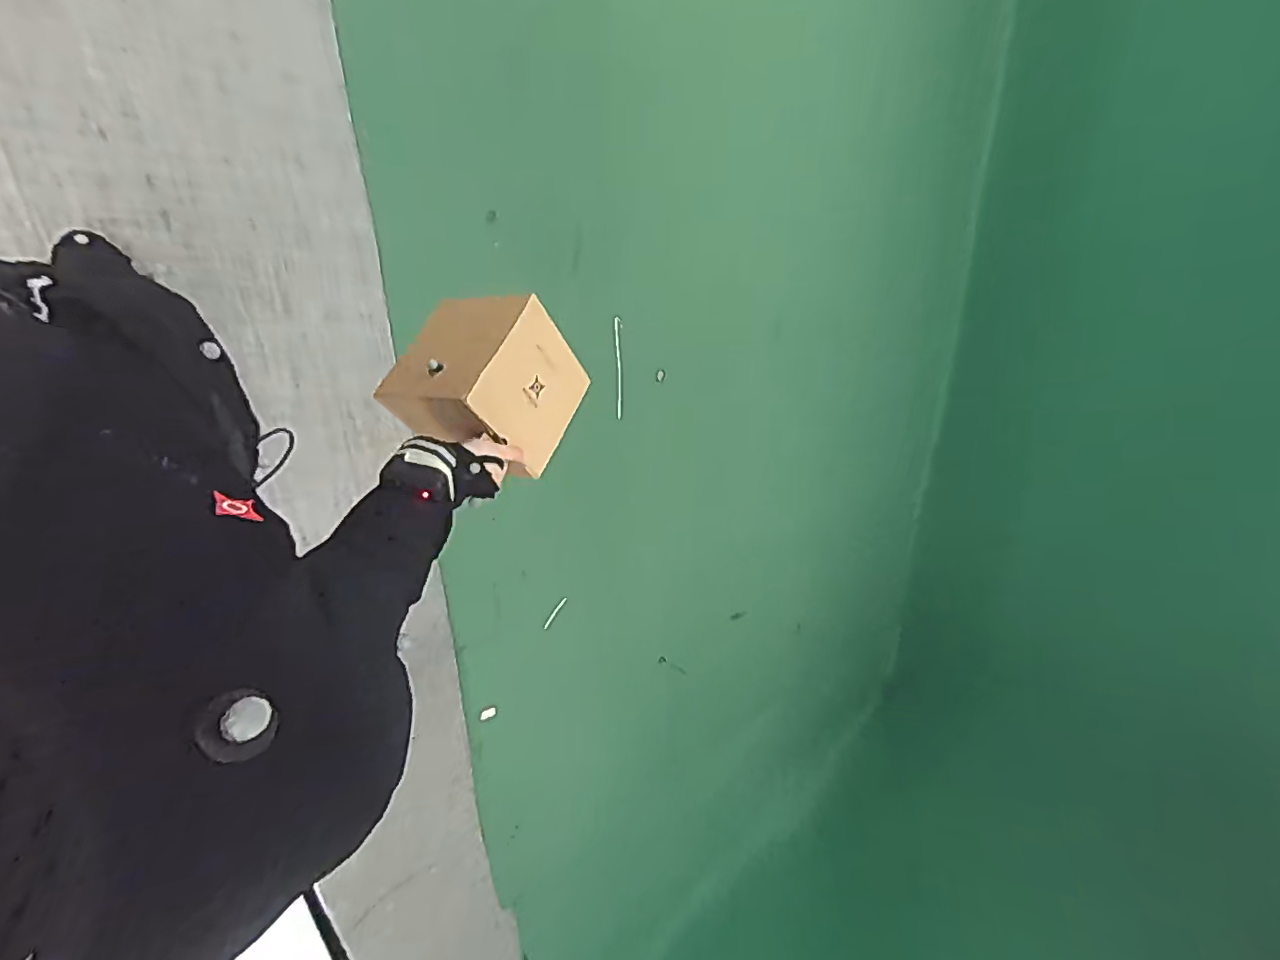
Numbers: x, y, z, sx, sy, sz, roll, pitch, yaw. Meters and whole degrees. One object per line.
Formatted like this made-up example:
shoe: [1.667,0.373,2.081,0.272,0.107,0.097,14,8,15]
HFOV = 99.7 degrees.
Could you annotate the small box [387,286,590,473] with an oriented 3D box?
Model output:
small box: [-0.200,-0.131,0.723,0.168,0.176,0.179,55,50,-51]
